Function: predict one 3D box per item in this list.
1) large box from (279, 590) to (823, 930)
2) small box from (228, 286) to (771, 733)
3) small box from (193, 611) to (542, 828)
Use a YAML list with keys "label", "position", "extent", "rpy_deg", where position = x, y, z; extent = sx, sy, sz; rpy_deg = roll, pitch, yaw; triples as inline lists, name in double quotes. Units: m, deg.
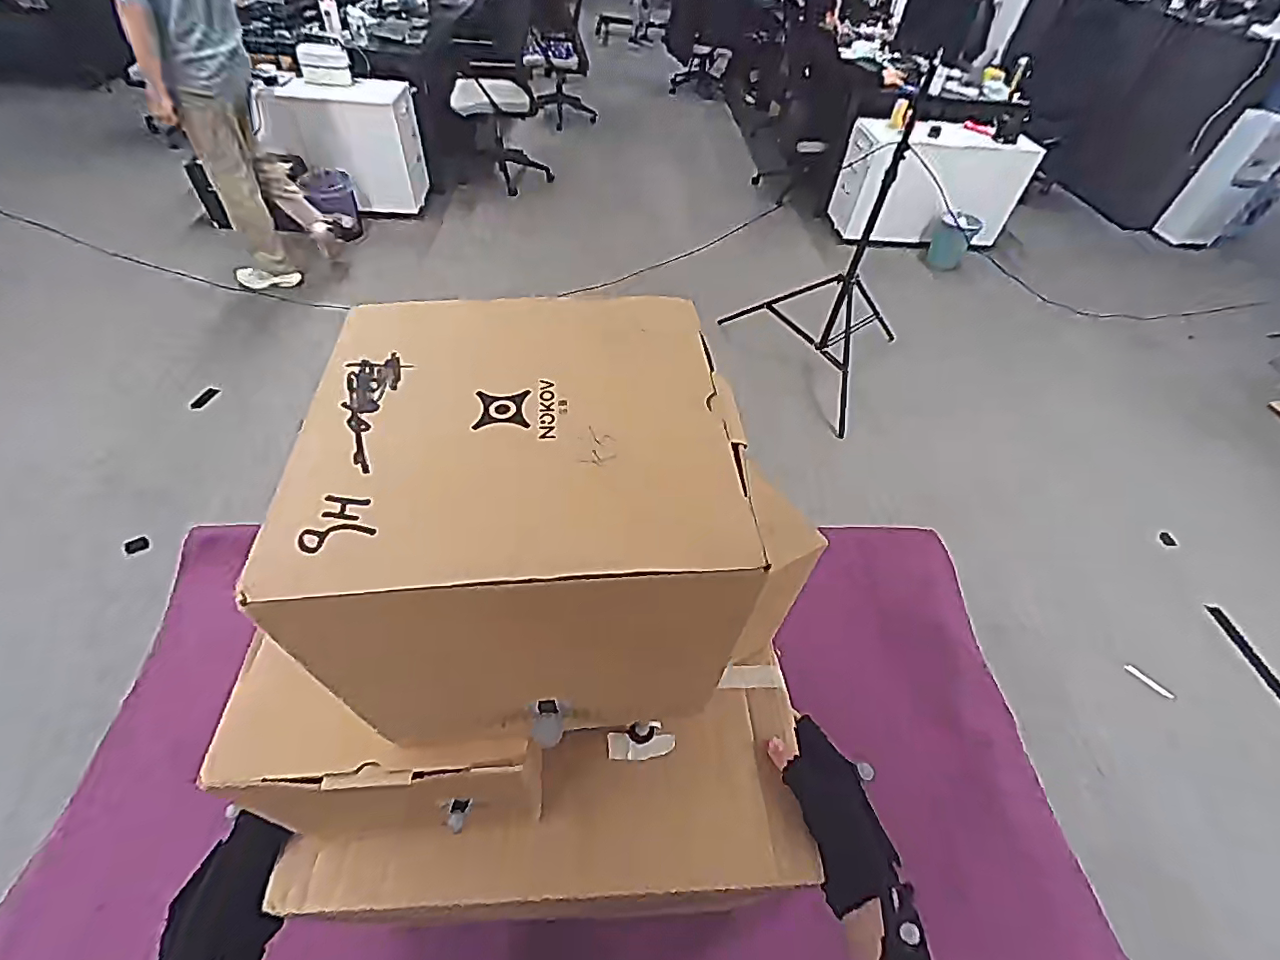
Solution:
- label: "large box"
  position: [-0.079, 0.278, 0.600]
  extent: [0.408, 0.320, 0.320]
  rpy_deg: [1, 50, -6]
- label: "small box"
  position: [-0.053, 0.020, 0.285]
  extent: [0.179, 0.176, 0.168]
  rpy_deg: [-2, 50, -7]
- label: "small box"
  position: [-0.156, 0.137, 0.391]
  extent: [0.168, 0.176, 0.179]
  rpy_deg: [0, 48, -8]
